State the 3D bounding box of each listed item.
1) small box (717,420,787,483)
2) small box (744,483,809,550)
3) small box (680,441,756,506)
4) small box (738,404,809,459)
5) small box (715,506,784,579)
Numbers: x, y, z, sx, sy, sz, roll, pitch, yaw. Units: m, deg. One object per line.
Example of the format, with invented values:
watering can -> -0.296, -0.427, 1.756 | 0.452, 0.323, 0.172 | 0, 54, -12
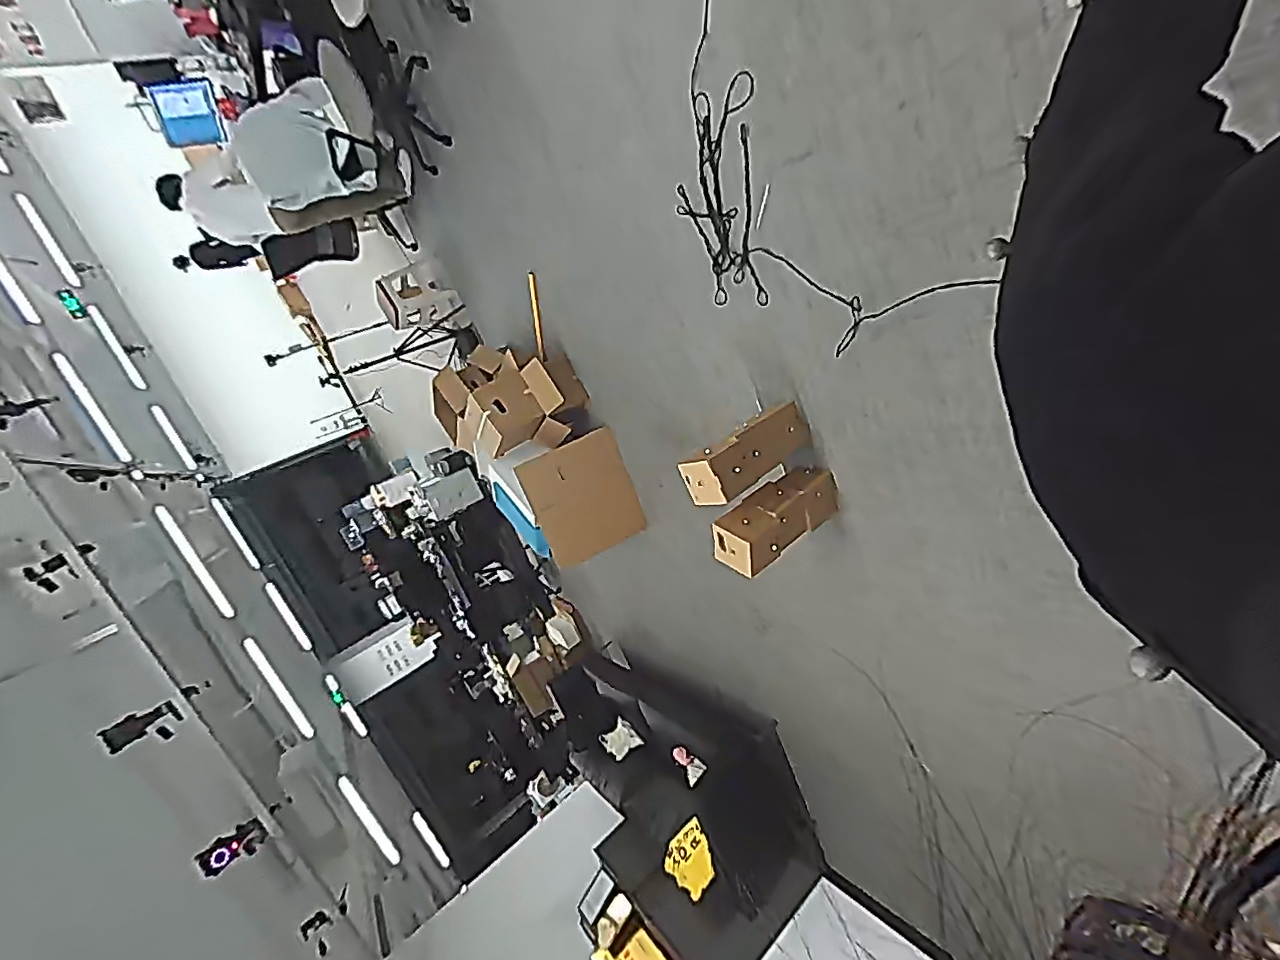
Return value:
small box -> 0.400, -0.094, 1.961 | 0.179, 0.176, 0.168 | 61, 151, -4
small box -> 0.511, 0.139, 2.011 | 0.168, 0.176, 0.179 | 25, 135, 48
small box -> 0.278, -0.023, 1.878 | 0.179, 0.176, 0.168 | -8, 110, 58
small box -> 0.513, -0.173, 2.048 | 0.179, 0.176, 0.168 | -13, 105, 61
small box -> 0.390, 0.214, 1.927 | 0.179, 0.176, 0.168 | 28, 139, 44
